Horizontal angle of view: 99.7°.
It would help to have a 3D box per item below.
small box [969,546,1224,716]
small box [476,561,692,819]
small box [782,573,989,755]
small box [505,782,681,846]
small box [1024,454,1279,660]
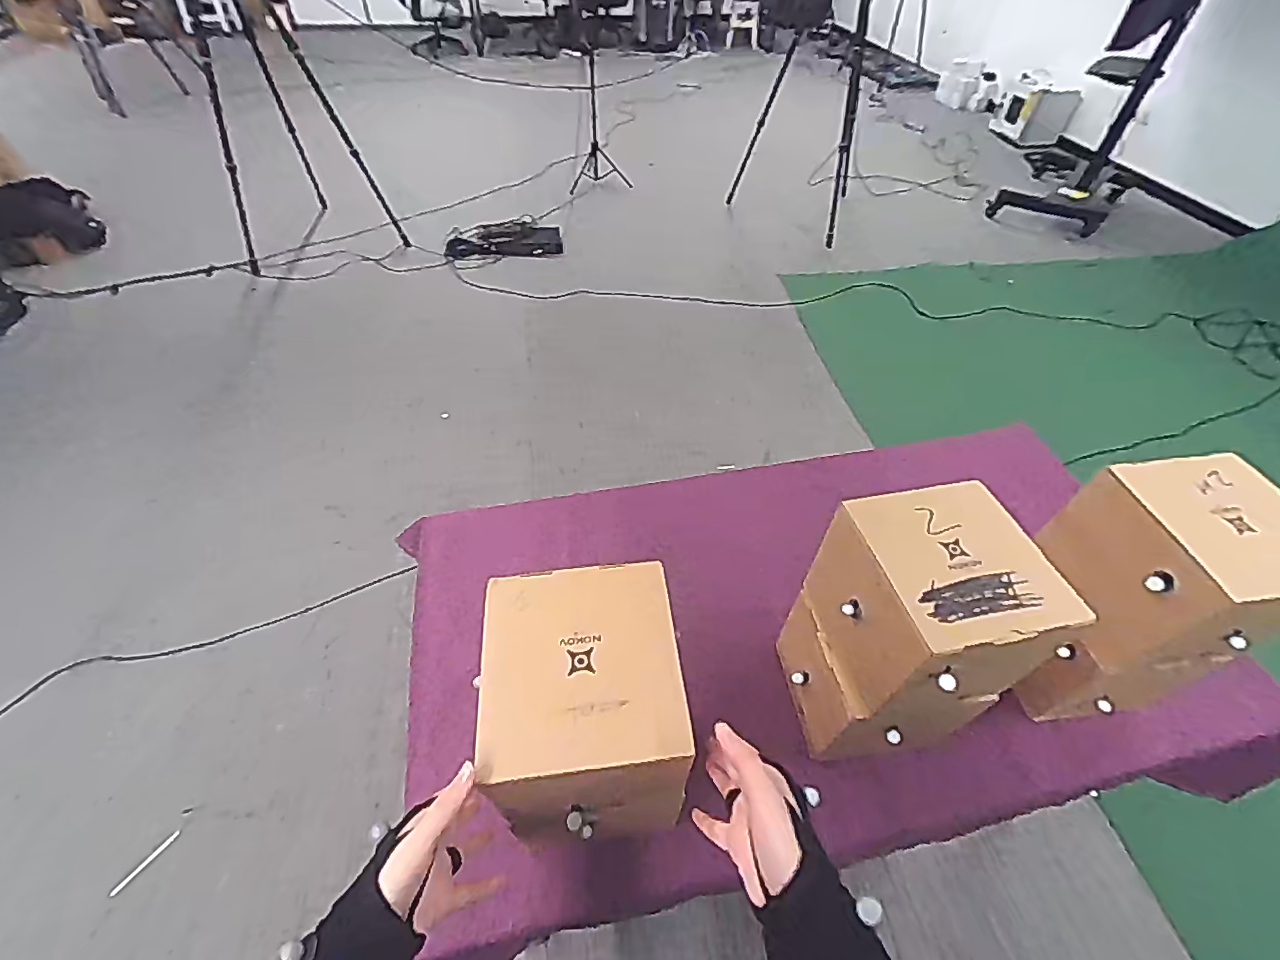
[{"bbox_3d":[0.603,0.204,0.750,0.168,0.176,0.179,-5,49,-5],"label":"small box"},{"bbox_3d":[-0.051,0.200,0.518,0.168,0.176,0.179,-5,49,-5],"label":"small box"},{"bbox_3d":[0.297,0.243,0.707,0.179,0.176,0.168,-5,49,-5],"label":"small box"},{"bbox_3d":[-0.055,0.312,0.637,0.179,0.176,0.168,-5,48,-7],"label":"small box"},{"bbox_3d":[0.607,0.094,0.627,0.168,0.176,0.179,-5,49,-6],"label":"small box"}]
